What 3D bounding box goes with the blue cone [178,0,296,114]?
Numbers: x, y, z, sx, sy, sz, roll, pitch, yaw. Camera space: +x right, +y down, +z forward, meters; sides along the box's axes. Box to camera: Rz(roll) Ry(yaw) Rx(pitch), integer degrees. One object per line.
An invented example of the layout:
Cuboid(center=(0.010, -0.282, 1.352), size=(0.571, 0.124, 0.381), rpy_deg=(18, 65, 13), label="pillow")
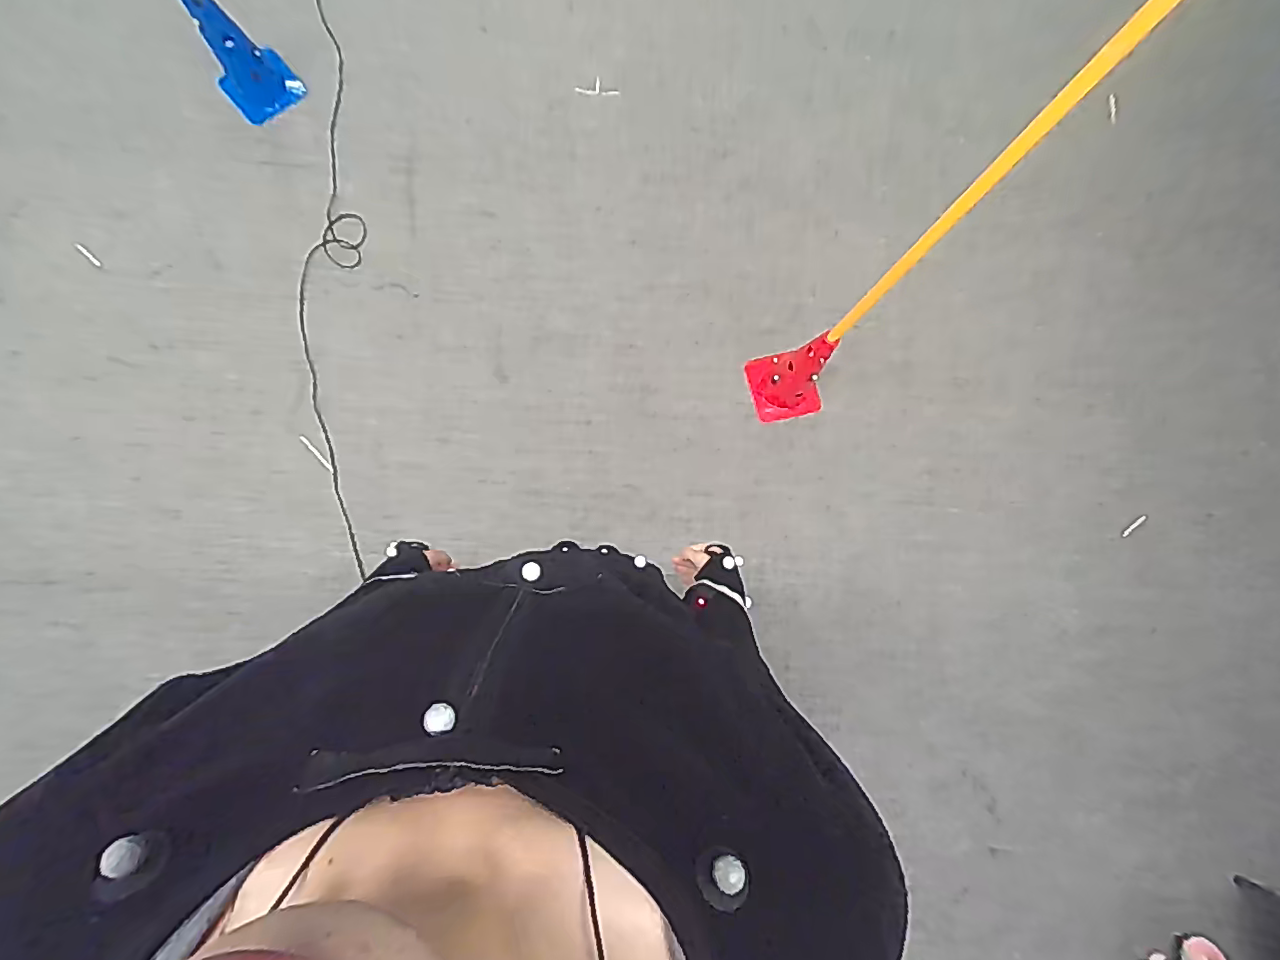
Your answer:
Cuboid(center=(-1.137, -1.216, 1.452), size=(0.193, 0.380, 0.192), rpy_deg=(-42, 88, -6), label="blue cone")
